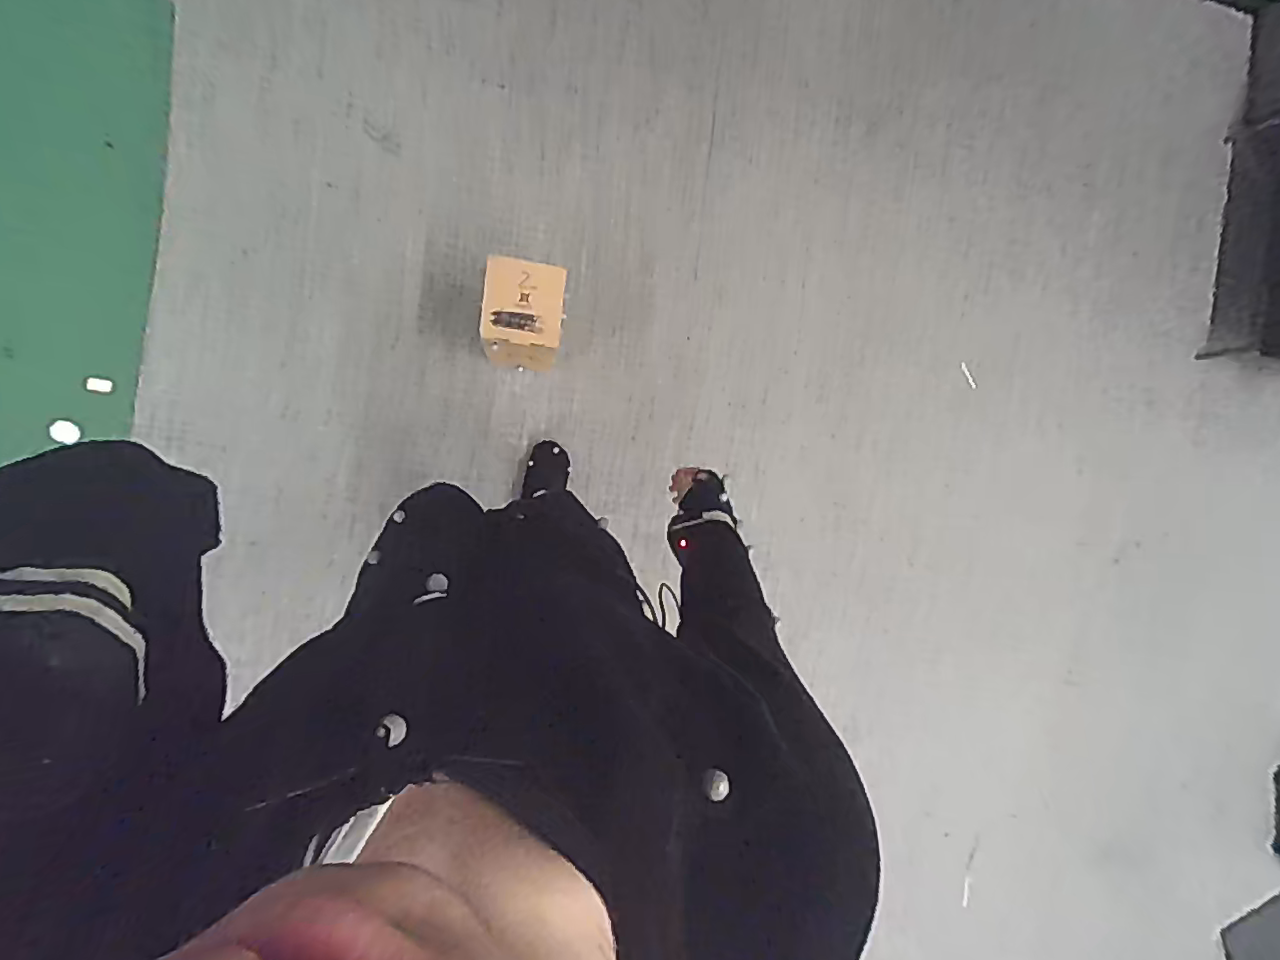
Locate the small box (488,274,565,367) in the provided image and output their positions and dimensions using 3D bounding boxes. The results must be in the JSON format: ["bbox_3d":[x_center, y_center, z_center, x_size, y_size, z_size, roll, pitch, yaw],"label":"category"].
[{"bbox_3d":[-0.289,-0.398,1.375,0.168,0.176,0.179,7,92,-12],"label":"small box"}]
